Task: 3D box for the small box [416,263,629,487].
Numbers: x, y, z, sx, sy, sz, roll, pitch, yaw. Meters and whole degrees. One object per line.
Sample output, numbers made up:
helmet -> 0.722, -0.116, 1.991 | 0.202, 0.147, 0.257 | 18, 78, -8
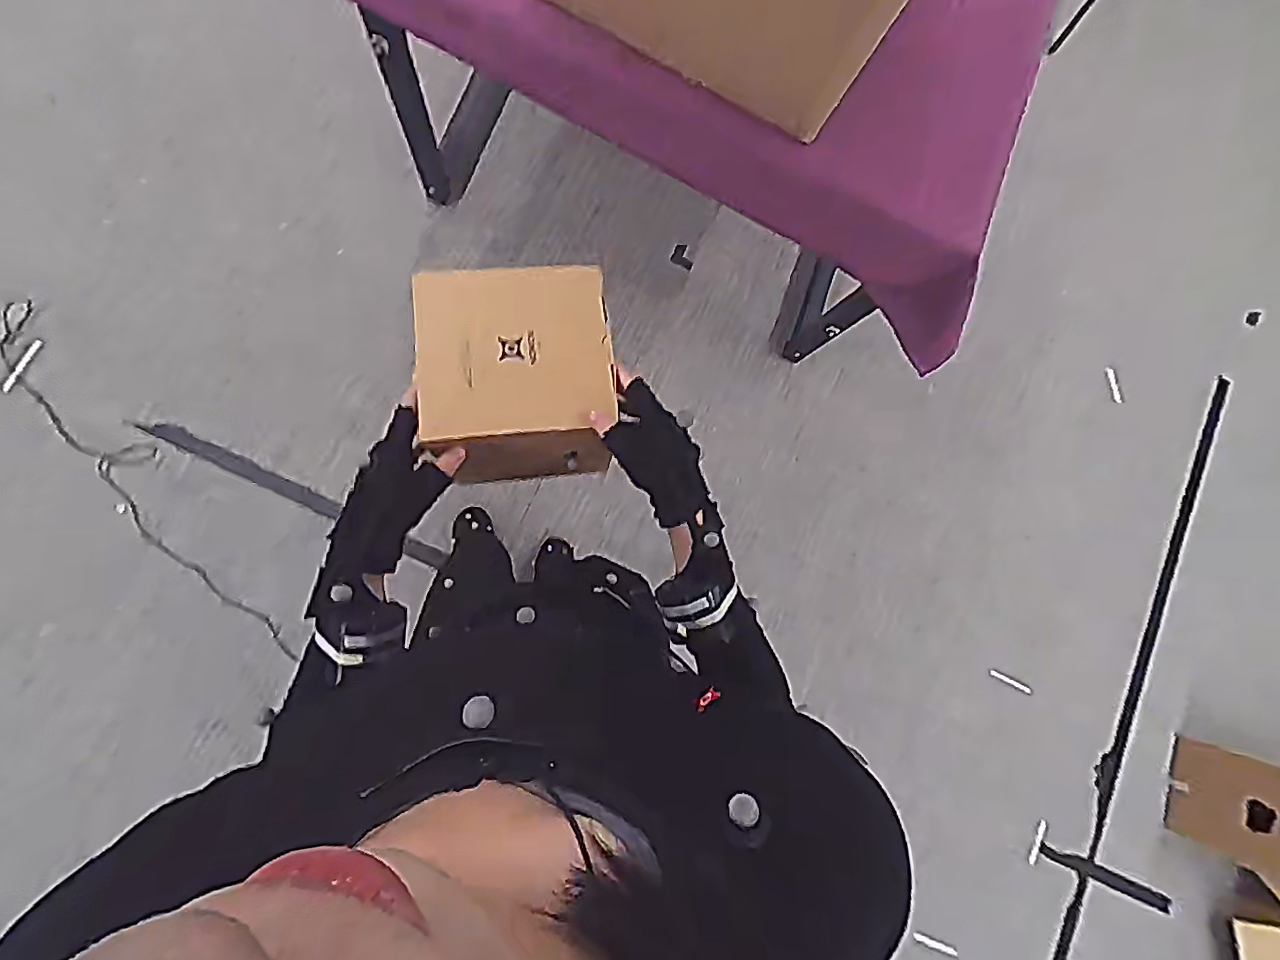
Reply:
small box -> -0.116, -0.098, 0.555 | 0.179, 0.176, 0.168 | -6, 74, -9
